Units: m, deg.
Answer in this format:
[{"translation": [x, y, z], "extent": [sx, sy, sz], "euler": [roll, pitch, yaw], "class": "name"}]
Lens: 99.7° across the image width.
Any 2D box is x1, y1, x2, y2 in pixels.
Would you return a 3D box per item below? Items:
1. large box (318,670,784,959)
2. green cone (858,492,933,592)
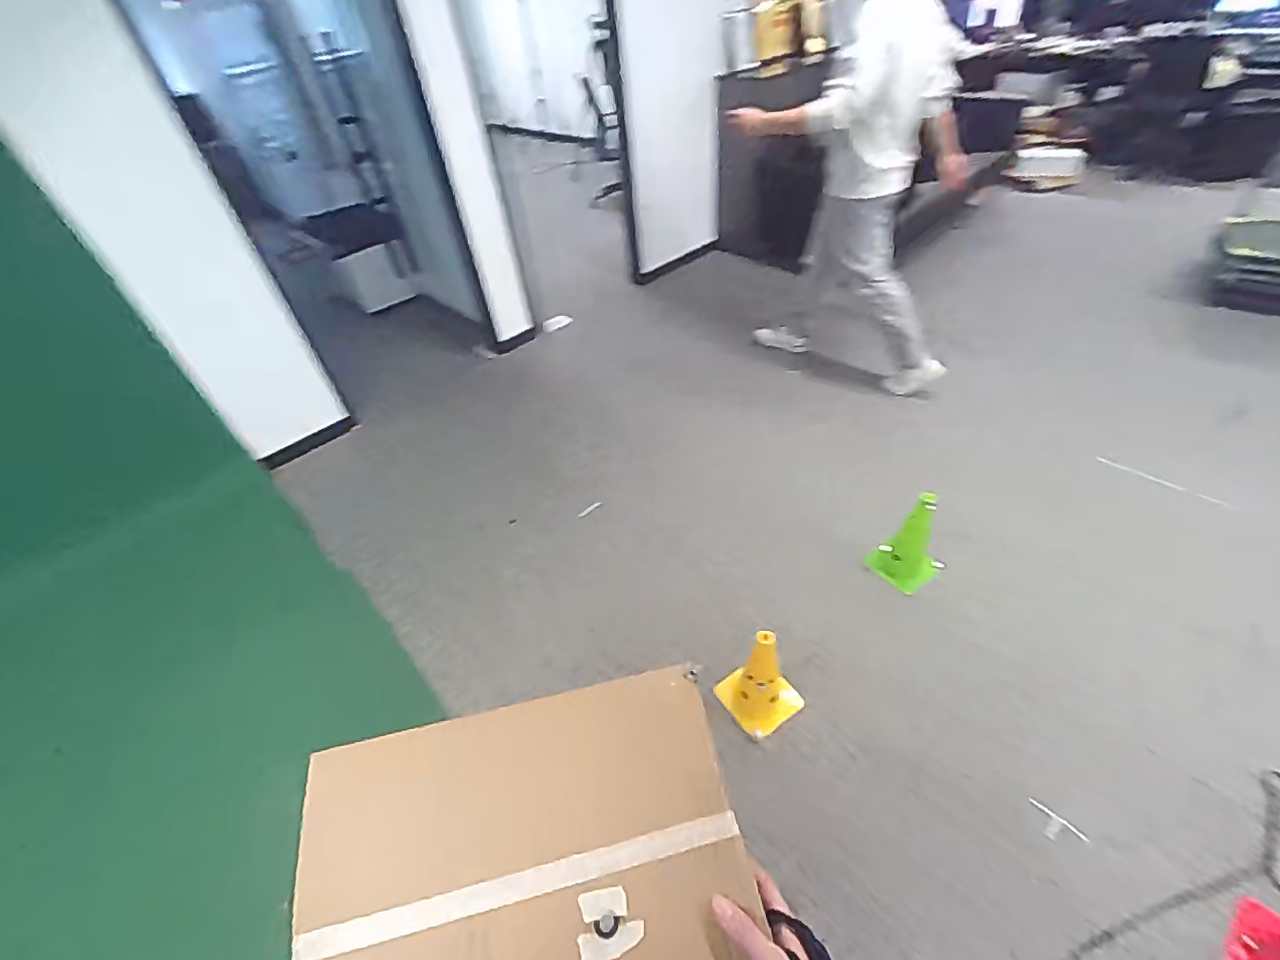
[{"translation": [-0.093, 0.458, 0.625], "extent": [0.408, 0.320, 0.320], "euler": [-10, 57, -7], "class": "large box"}, {"translation": [0.910, 0.176, 1.850], "extent": [0.202, 0.368, 0.200], "euler": [-32, 48, -23], "class": "green cone"}]
